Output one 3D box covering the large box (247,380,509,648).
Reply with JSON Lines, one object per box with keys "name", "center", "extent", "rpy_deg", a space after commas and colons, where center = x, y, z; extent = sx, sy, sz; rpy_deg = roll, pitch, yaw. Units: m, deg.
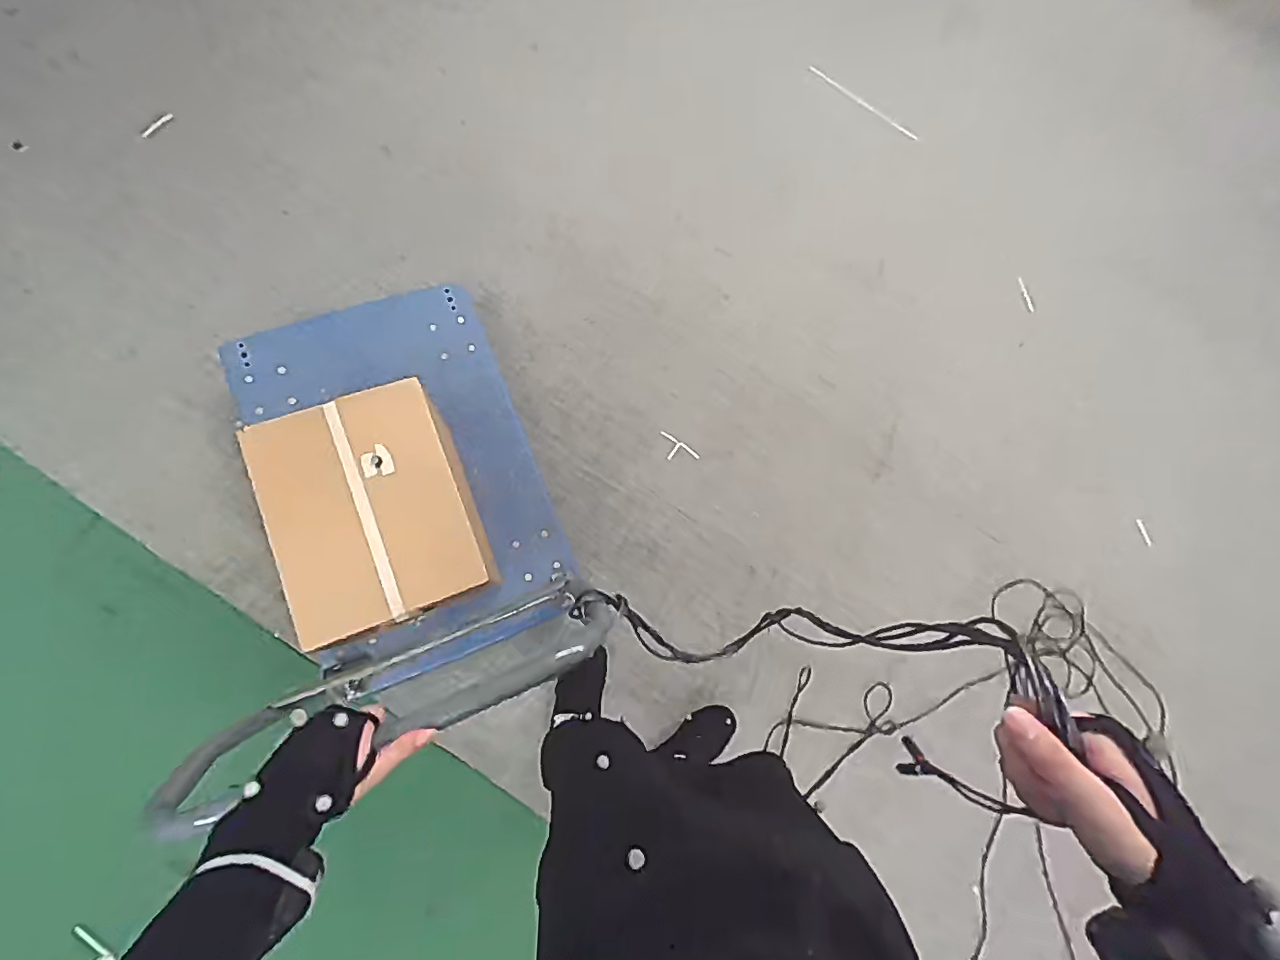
{"name": "large box", "center": [-0.489, 0.077, 1.086], "extent": [0.320, 0.320, 0.408], "rpy_deg": [-21, 81, -13]}
